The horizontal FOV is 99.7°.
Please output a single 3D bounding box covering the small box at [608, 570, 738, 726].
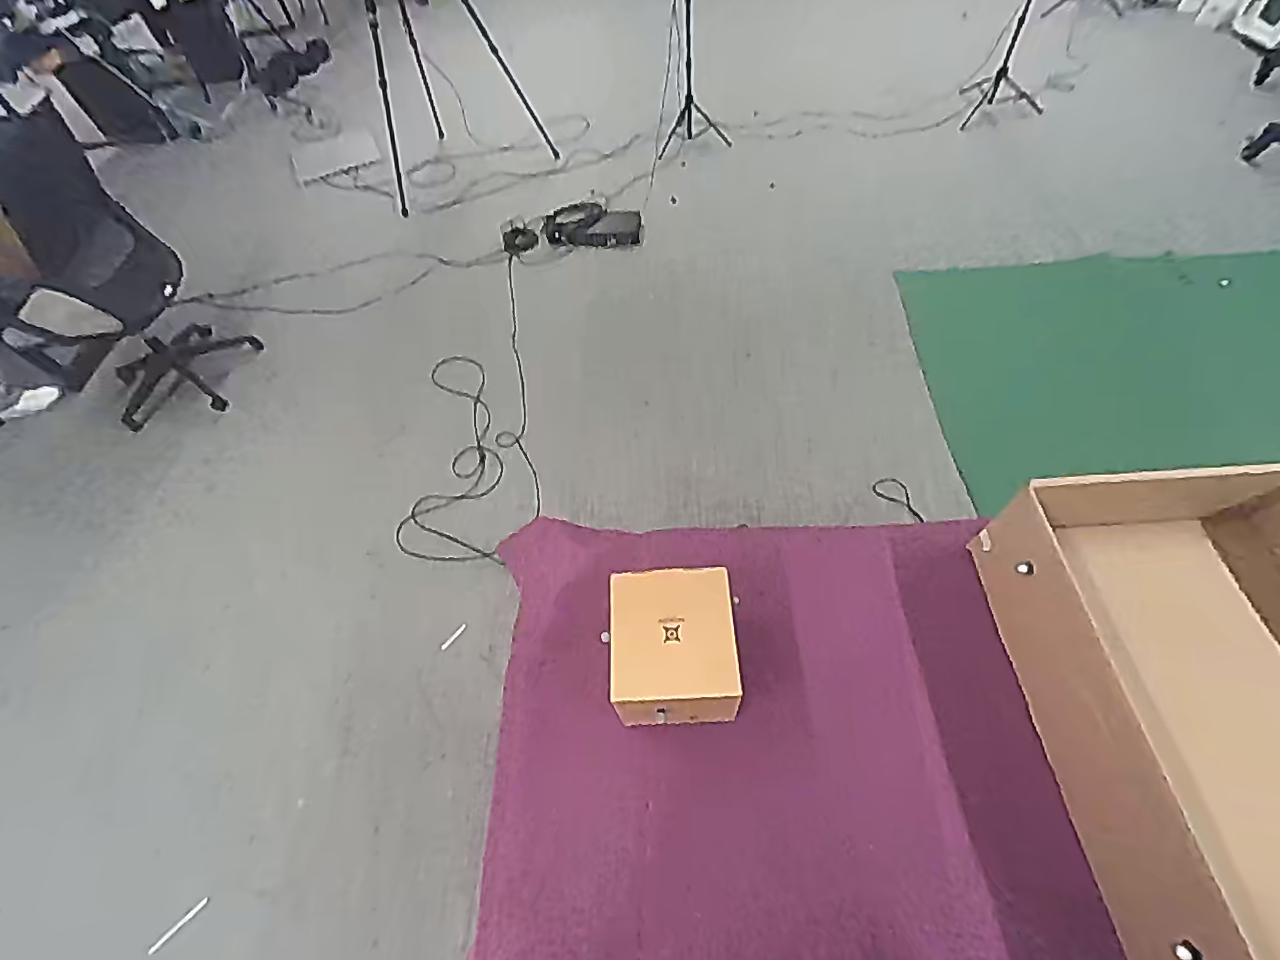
[{"bbox_3d":[0.048,0.248,0.779,0.168,0.176,0.179,-4,54,3],"label":"small box"}]
